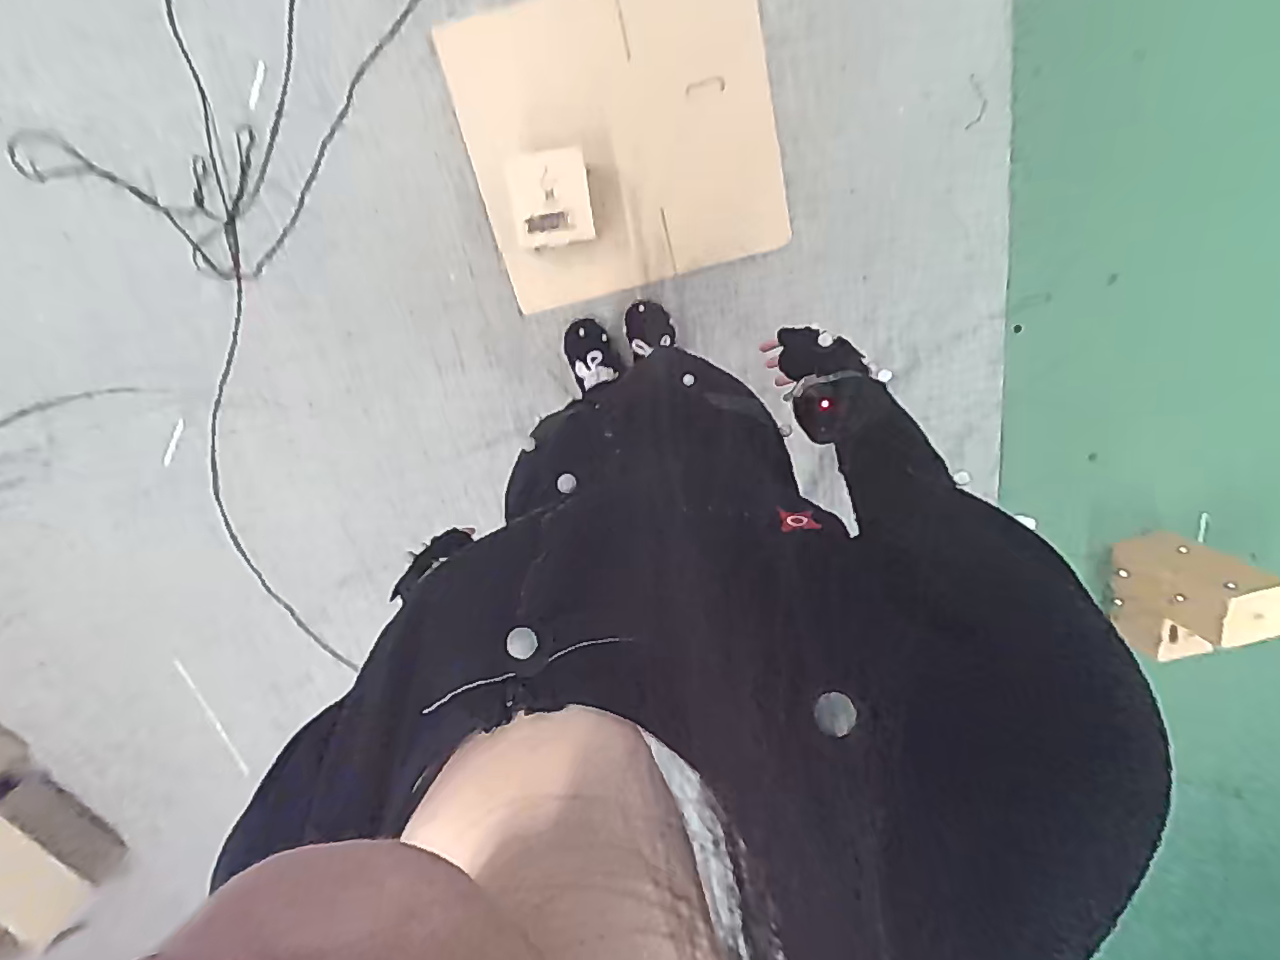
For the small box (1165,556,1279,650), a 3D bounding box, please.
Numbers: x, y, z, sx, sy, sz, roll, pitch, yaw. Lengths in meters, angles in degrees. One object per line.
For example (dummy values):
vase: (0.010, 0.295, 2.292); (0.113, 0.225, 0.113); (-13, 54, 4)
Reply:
small box: (1.601, 0.327, 1.472); (0.179, 0.176, 0.168); (-15, 110, 2)
